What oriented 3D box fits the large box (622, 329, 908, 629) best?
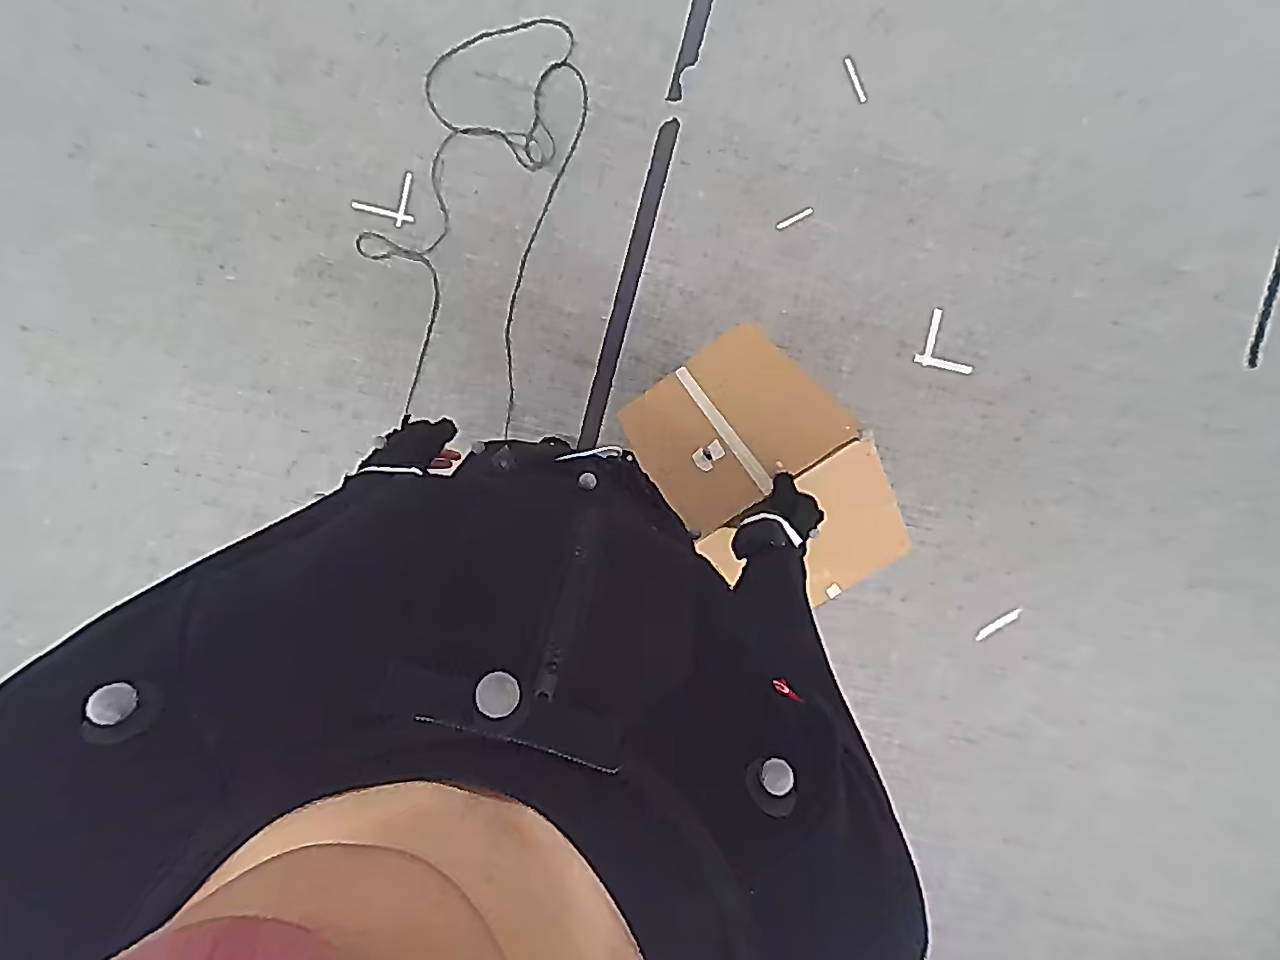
[{"bbox_3d":[0.217,-0.010,1.013,0.320,0.408,0.320,-36,130,9],"label":"large box"}]
